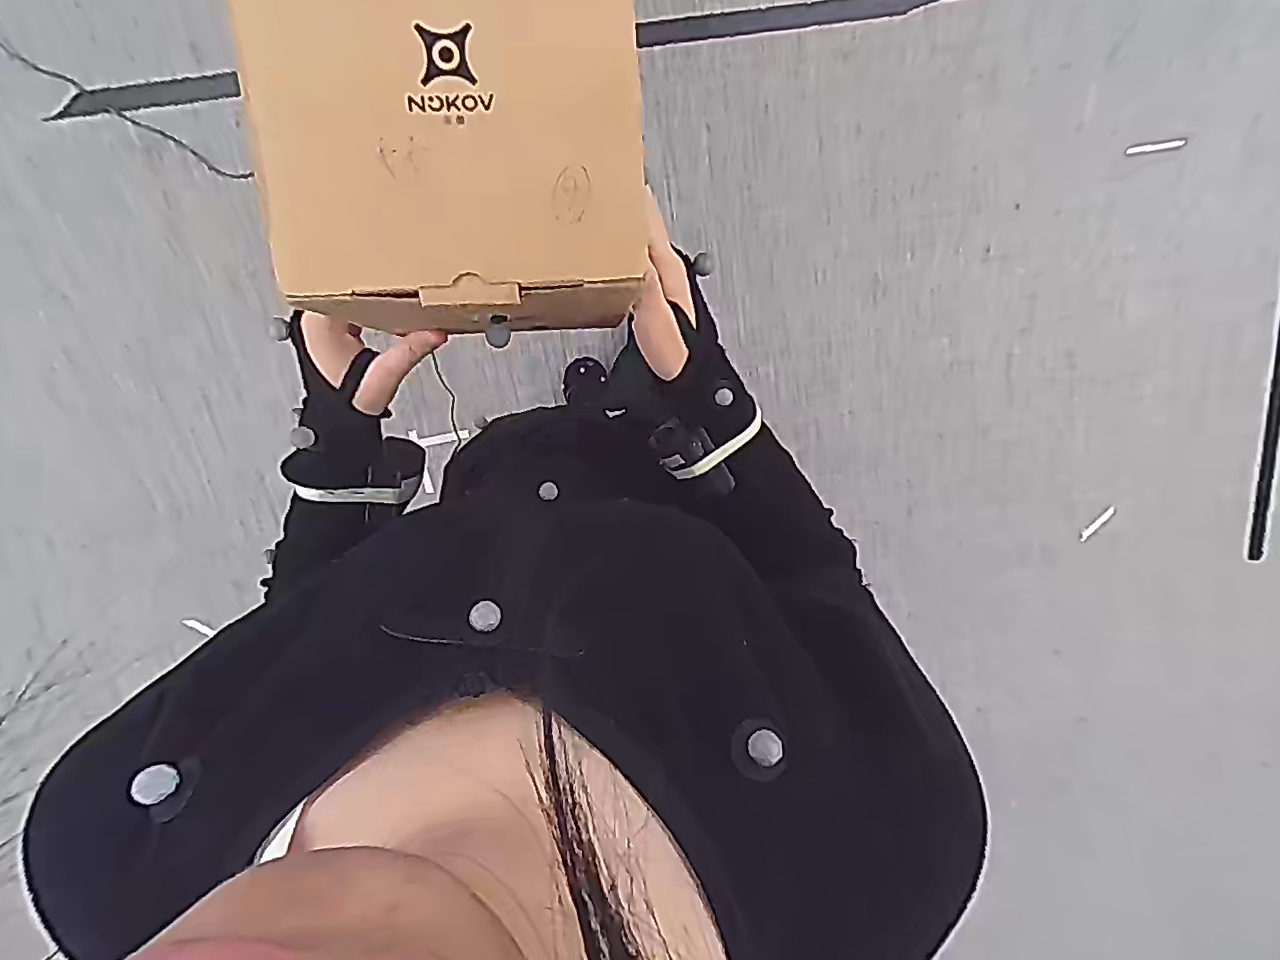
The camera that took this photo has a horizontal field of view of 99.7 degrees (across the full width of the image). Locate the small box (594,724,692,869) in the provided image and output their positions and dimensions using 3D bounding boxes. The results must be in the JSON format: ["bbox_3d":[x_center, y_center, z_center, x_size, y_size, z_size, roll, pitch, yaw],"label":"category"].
[{"bbox_3d":[0.004,0.629,1.088,0.168,0.176,0.179,-9,102,-2],"label":"small box"}]

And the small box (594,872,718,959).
[{"bbox_3d":[0.024,0.697,0.768,0.168,0.176,0.179,-7,103,-2],"label":"small box"}]

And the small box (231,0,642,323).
[{"bbox_3d":[-0.091,-0.186,0.308,0.168,0.176,0.179,-4,100,-7],"label":"small box"}]
